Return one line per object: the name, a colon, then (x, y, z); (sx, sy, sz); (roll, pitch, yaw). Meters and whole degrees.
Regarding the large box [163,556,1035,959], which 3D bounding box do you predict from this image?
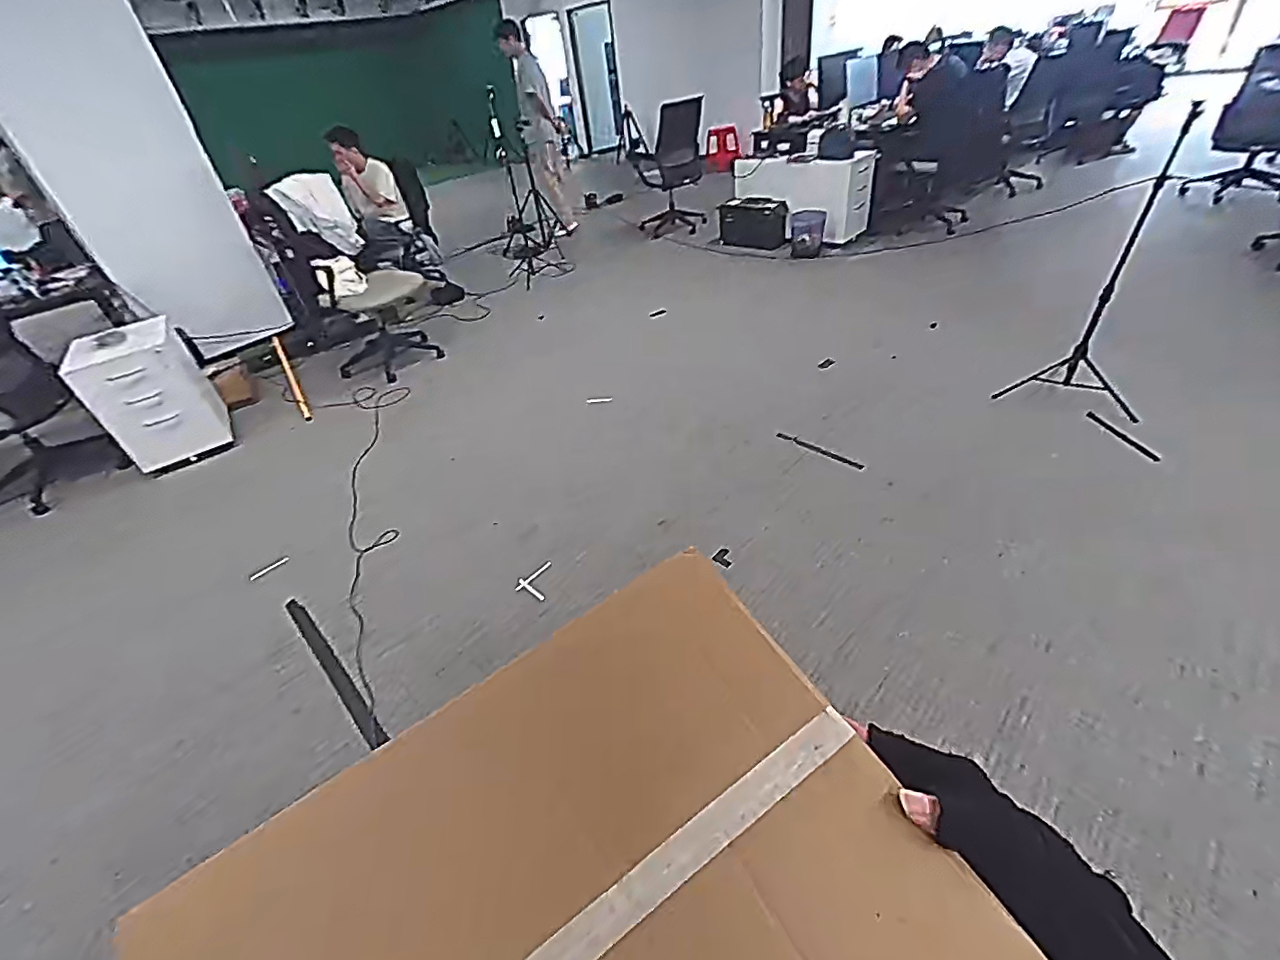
large box: (-0.026, 0.342, 0.418); (0.408, 0.320, 0.320); (-31, 59, -16)
